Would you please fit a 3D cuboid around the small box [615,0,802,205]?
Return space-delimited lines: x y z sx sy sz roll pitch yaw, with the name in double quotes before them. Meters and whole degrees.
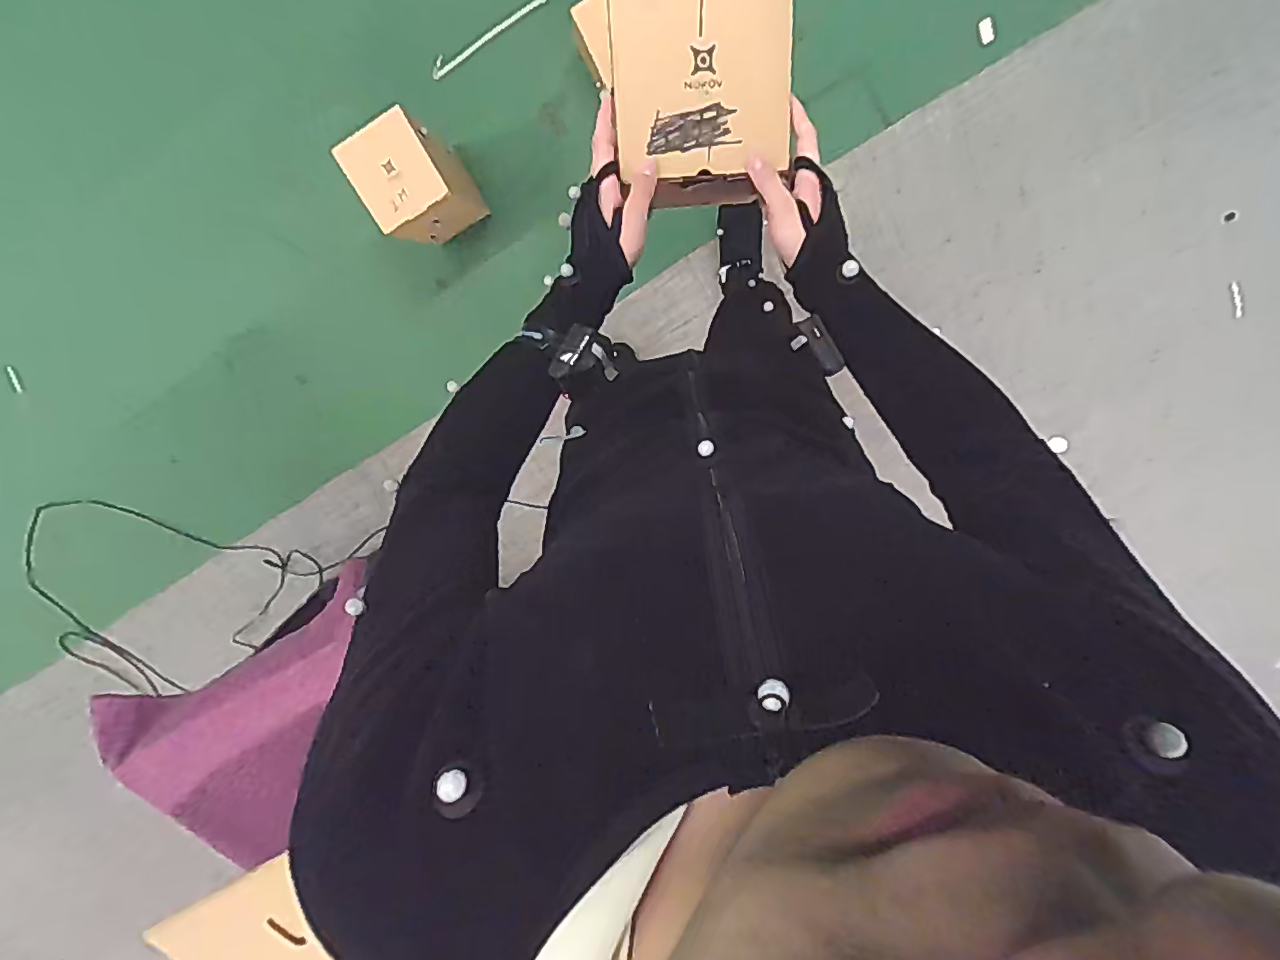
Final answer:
"small box" 0.062 -0.396 0.565 0.168 0.176 0.179 -4 107 0

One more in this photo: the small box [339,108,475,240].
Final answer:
"small box" -0.479 -0.631 1.141 0.168 0.176 0.179 -26 108 9

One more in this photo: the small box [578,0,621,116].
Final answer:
"small box" -0.021 -0.956 1.205 0.168 0.176 0.179 -28 109 8
